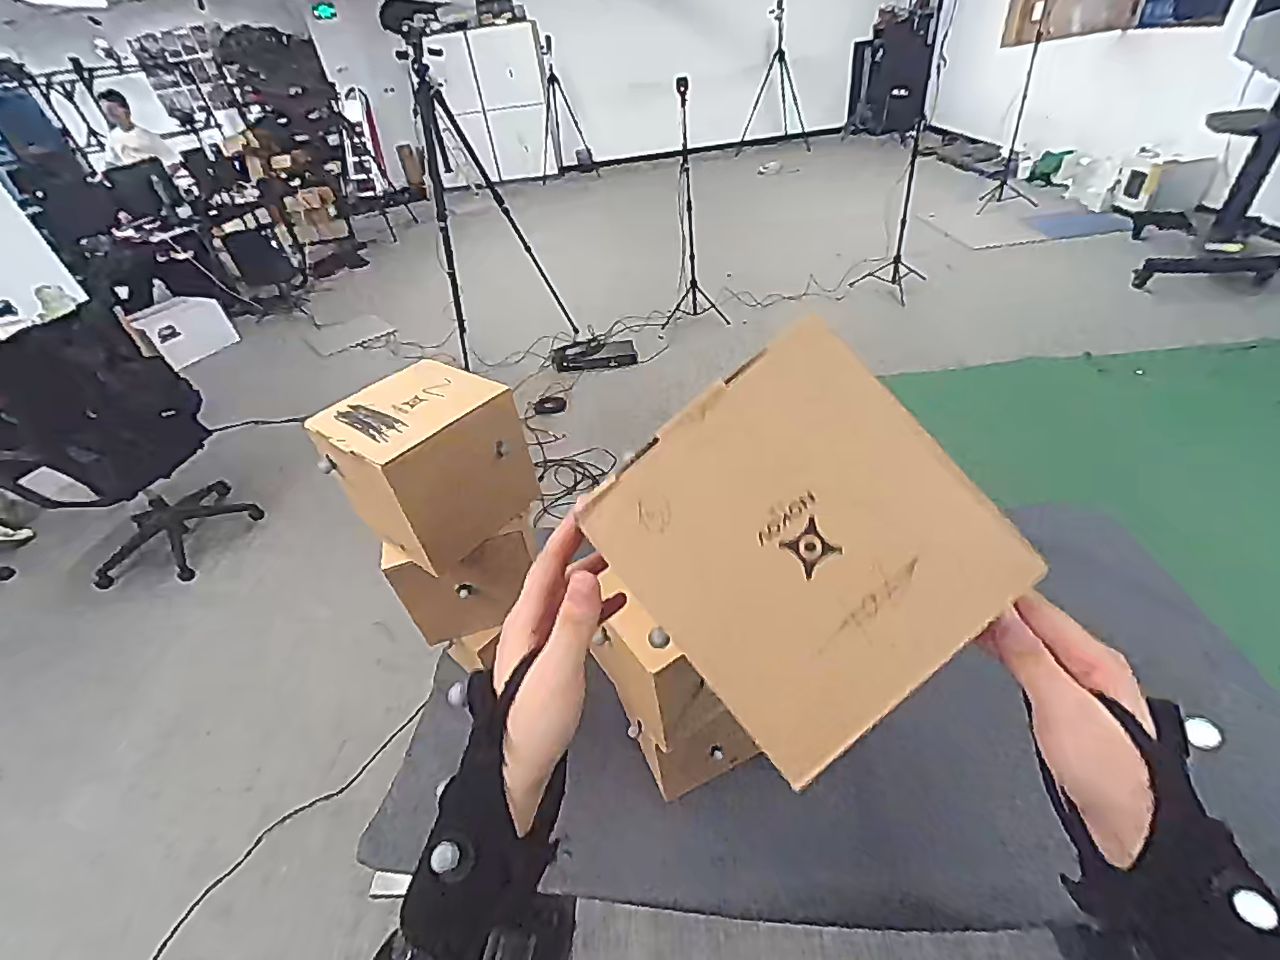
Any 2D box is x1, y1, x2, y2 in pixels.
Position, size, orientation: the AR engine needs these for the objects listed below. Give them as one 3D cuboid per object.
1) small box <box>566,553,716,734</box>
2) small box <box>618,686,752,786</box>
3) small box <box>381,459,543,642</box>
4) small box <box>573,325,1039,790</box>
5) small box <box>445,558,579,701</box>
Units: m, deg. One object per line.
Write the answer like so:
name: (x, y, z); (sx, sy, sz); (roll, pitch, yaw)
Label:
small box: (0.039, 0.169, 0.643); (0.168, 0.176, 0.179); (-28, 42, -22)
small box: (0.065, 0.289, 0.749); (0.168, 0.176, 0.179); (-20, 40, -14)
small box: (-0.246, 0.101, 0.780); (0.179, 0.176, 0.168); (-17, 40, -8)
small box: (0.083, 0.041, 0.348); (0.168, 0.176, 0.179); (-40, 86, 0)
small box: (-0.225, 0.224, 0.887); (0.179, 0.176, 0.168); (25, 50, 35)
